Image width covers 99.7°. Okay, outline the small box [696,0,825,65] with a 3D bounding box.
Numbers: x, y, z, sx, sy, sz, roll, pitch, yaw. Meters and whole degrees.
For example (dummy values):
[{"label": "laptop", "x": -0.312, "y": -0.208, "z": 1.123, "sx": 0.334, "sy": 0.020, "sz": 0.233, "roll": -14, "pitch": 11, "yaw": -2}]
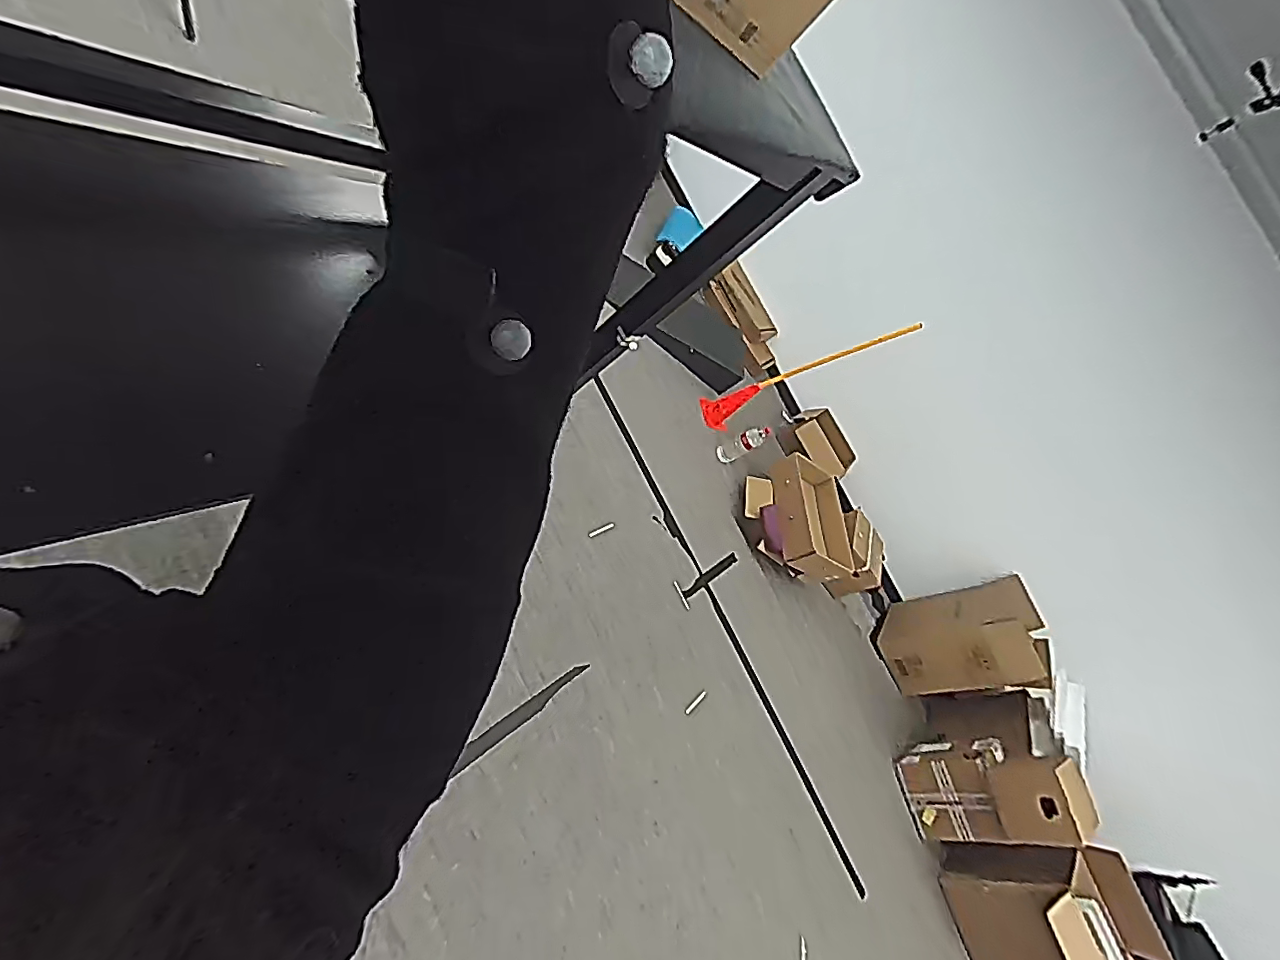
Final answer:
[{"label": "small box", "x": 0.089, "y": -0.484, "z": 0.420, "sx": 0.168, "sy": 0.176, "sz": 0.179, "roll": -16, "pitch": 77, "yaw": -51}]
